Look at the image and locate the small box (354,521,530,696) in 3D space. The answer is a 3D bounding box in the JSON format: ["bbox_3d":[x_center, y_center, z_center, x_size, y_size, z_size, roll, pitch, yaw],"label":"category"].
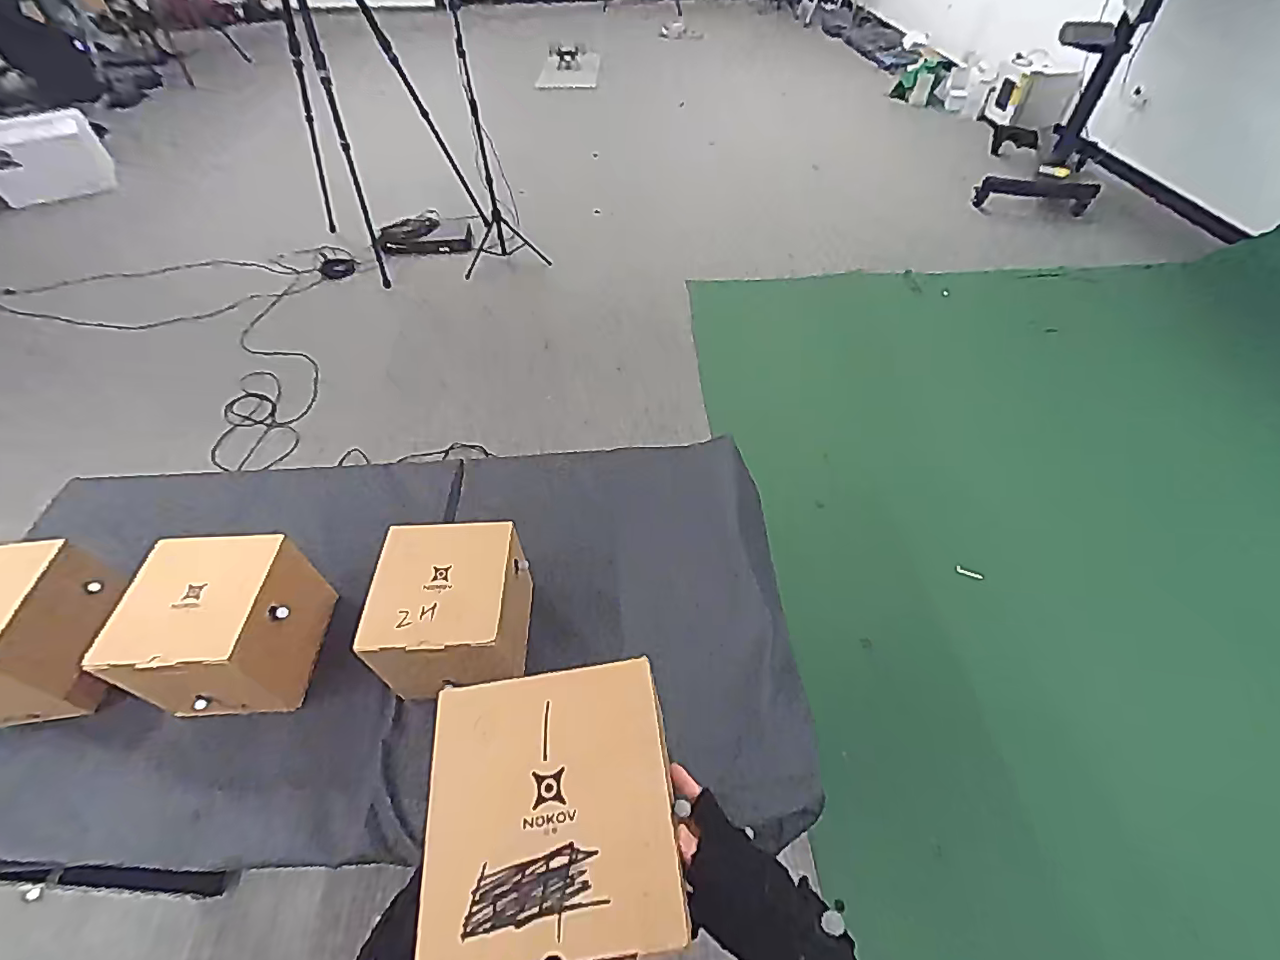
[{"bbox_3d":[-0.247,0.174,0.729,0.168,0.176,0.179,-2,50,-1],"label":"small box"}]

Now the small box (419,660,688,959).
[{"bbox_3d":[-0.054,0.265,0.431,0.168,0.176,0.179,-8,53,-1],"label":"small box"}]

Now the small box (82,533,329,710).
[{"bbox_3d":[-0.545,0.188,0.717,0.168,0.176,0.179,-2,51,-2],"label":"small box"}]
